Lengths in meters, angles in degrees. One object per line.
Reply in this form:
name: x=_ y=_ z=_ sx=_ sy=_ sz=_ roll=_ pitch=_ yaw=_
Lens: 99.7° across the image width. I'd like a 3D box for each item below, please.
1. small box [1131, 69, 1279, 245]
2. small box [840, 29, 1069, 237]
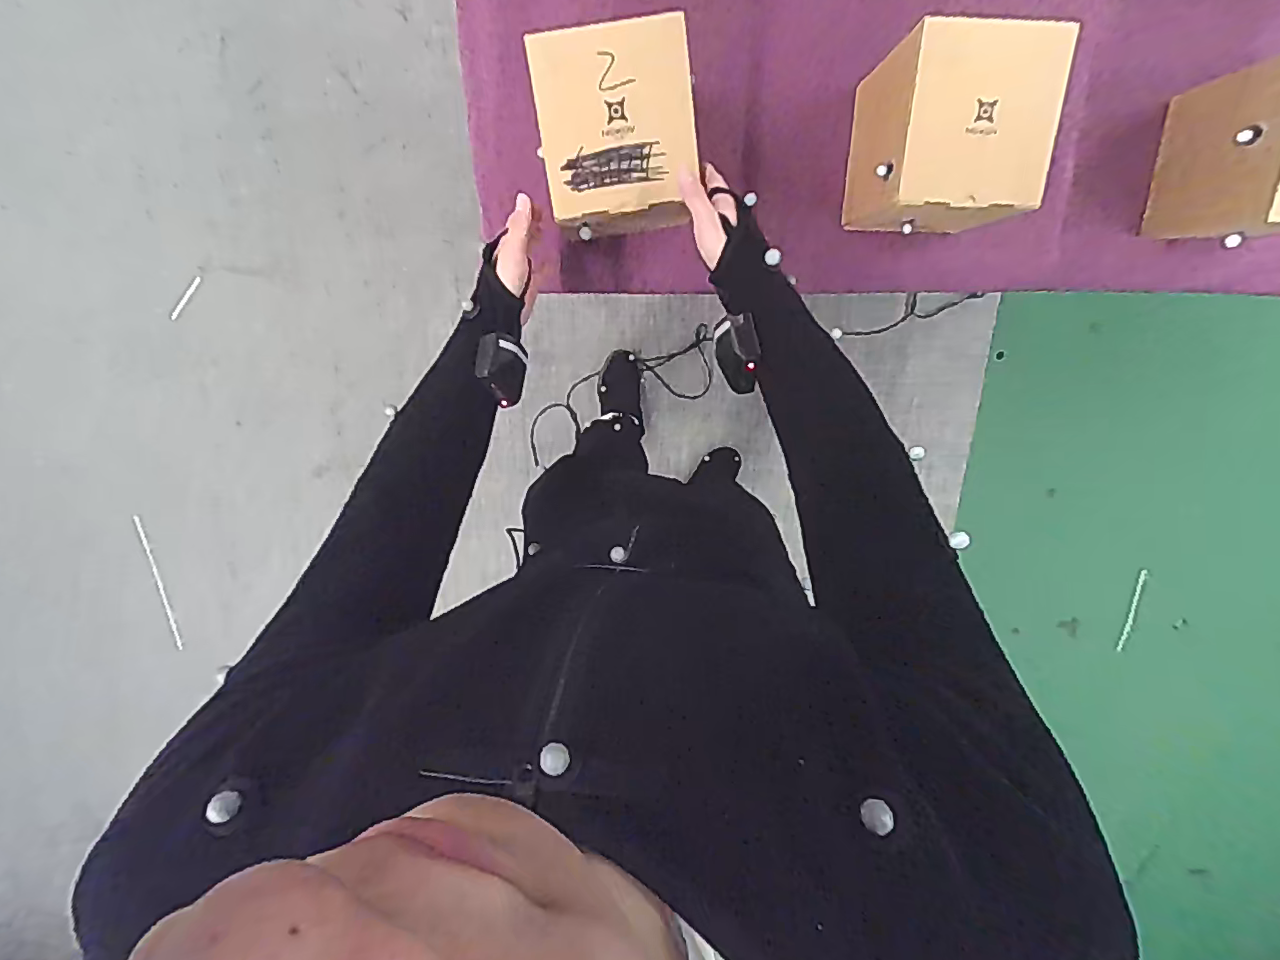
small box: x=0.783 y=-0.399 z=0.681 sx=0.168 sy=0.176 sz=0.179 roll=-1 pitch=110 yaw=-1
small box: x=0.364 y=-0.407 z=0.664 sx=0.168 sy=0.176 sz=0.179 roll=0 pitch=109 yaw=-3
